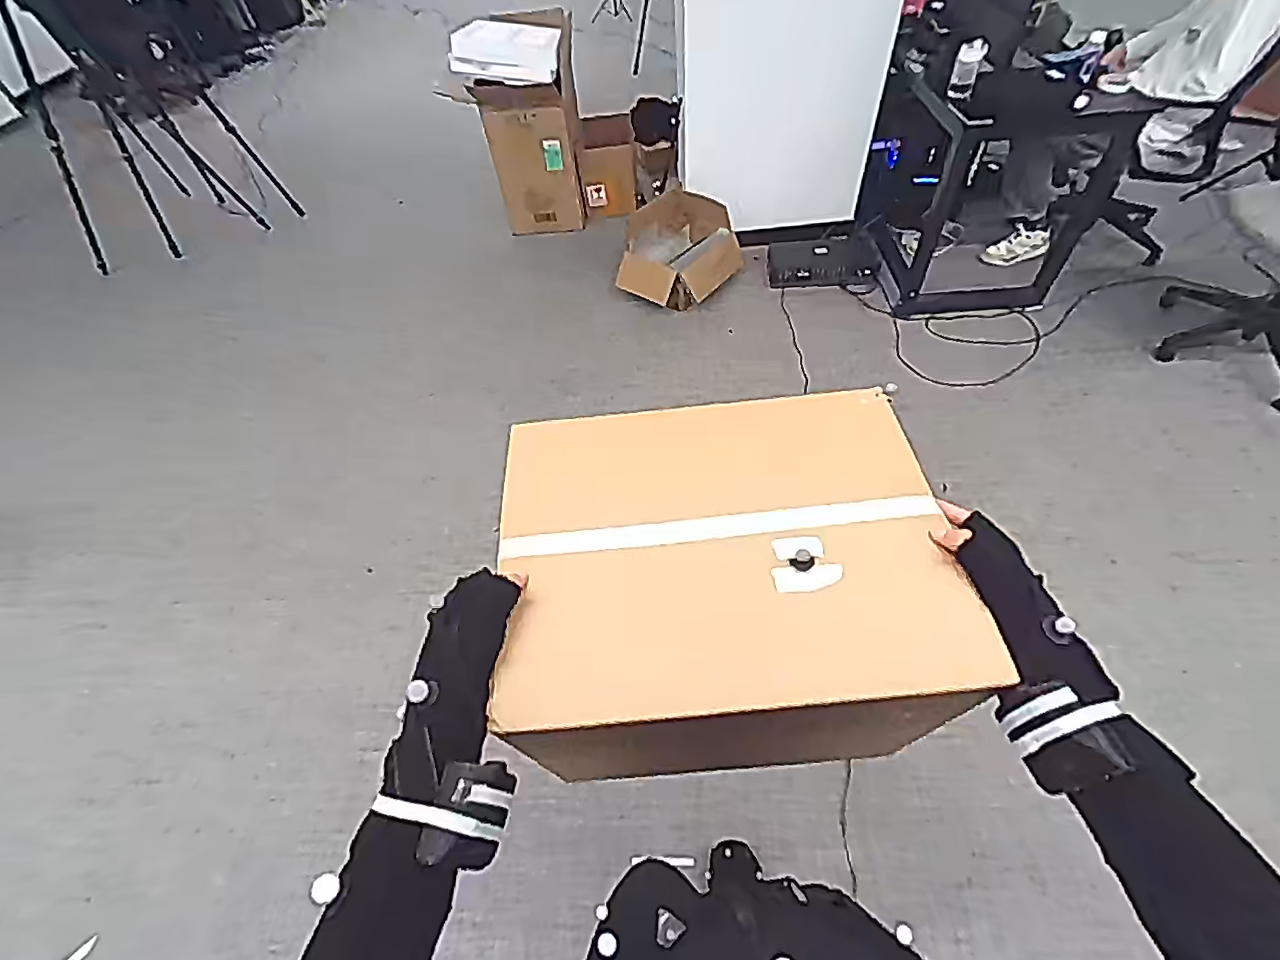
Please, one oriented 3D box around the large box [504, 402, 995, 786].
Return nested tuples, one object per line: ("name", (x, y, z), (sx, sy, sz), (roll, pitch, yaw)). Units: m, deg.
("large box", (0.084, 0.144, 0.634), (0.408, 0.320, 0.320), (-6, 54, 1))
